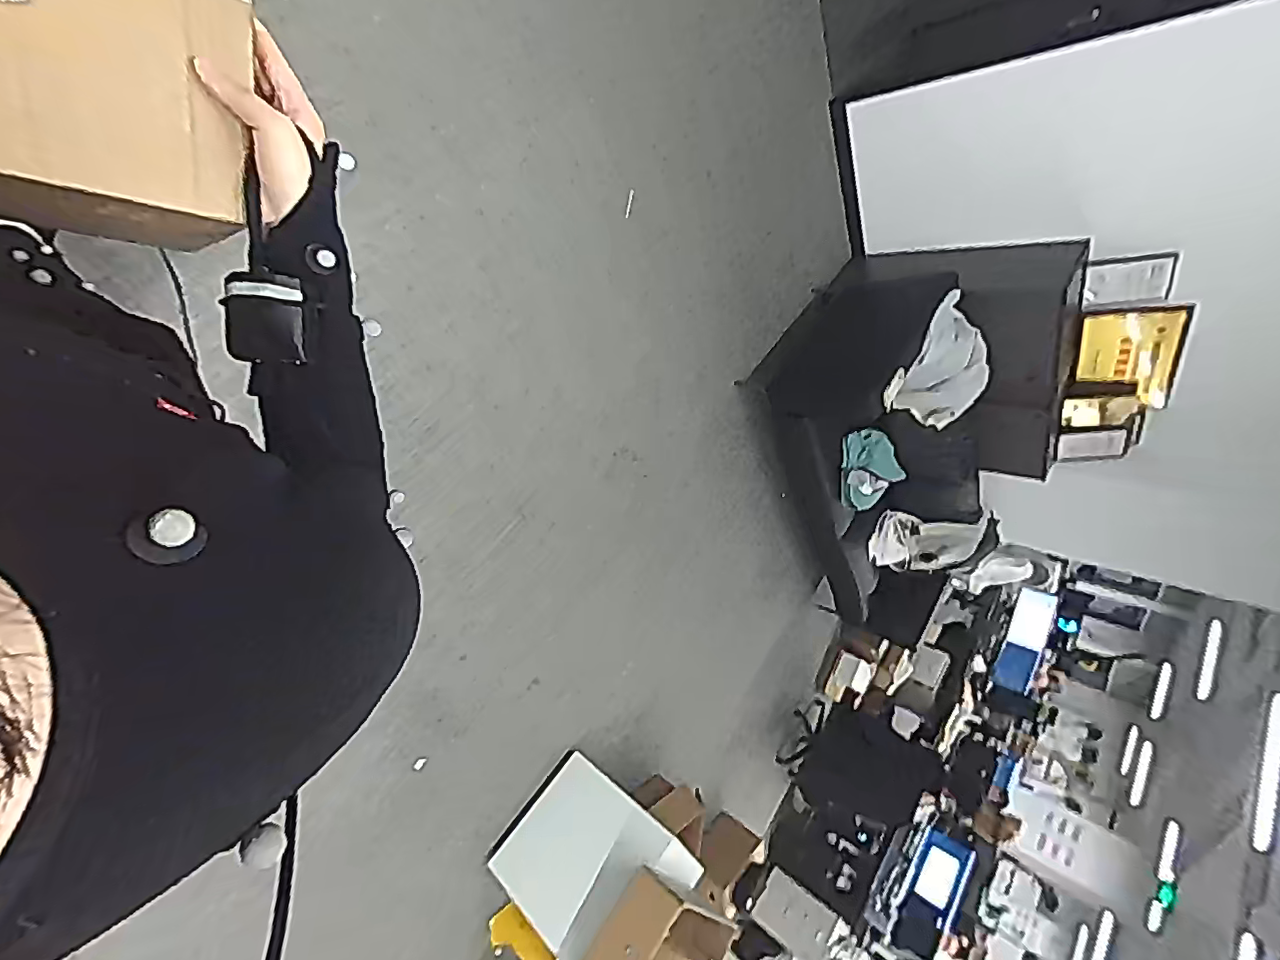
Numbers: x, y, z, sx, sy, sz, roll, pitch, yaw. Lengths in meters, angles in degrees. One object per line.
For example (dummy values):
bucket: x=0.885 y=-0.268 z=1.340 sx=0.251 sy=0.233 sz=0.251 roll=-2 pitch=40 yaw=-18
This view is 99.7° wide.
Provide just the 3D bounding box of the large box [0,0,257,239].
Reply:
large box: x=-0.526 y=-0.370 z=0.343 sx=0.408 sy=0.320 sz=0.320 roll=-6 pitch=108 yaw=-46
